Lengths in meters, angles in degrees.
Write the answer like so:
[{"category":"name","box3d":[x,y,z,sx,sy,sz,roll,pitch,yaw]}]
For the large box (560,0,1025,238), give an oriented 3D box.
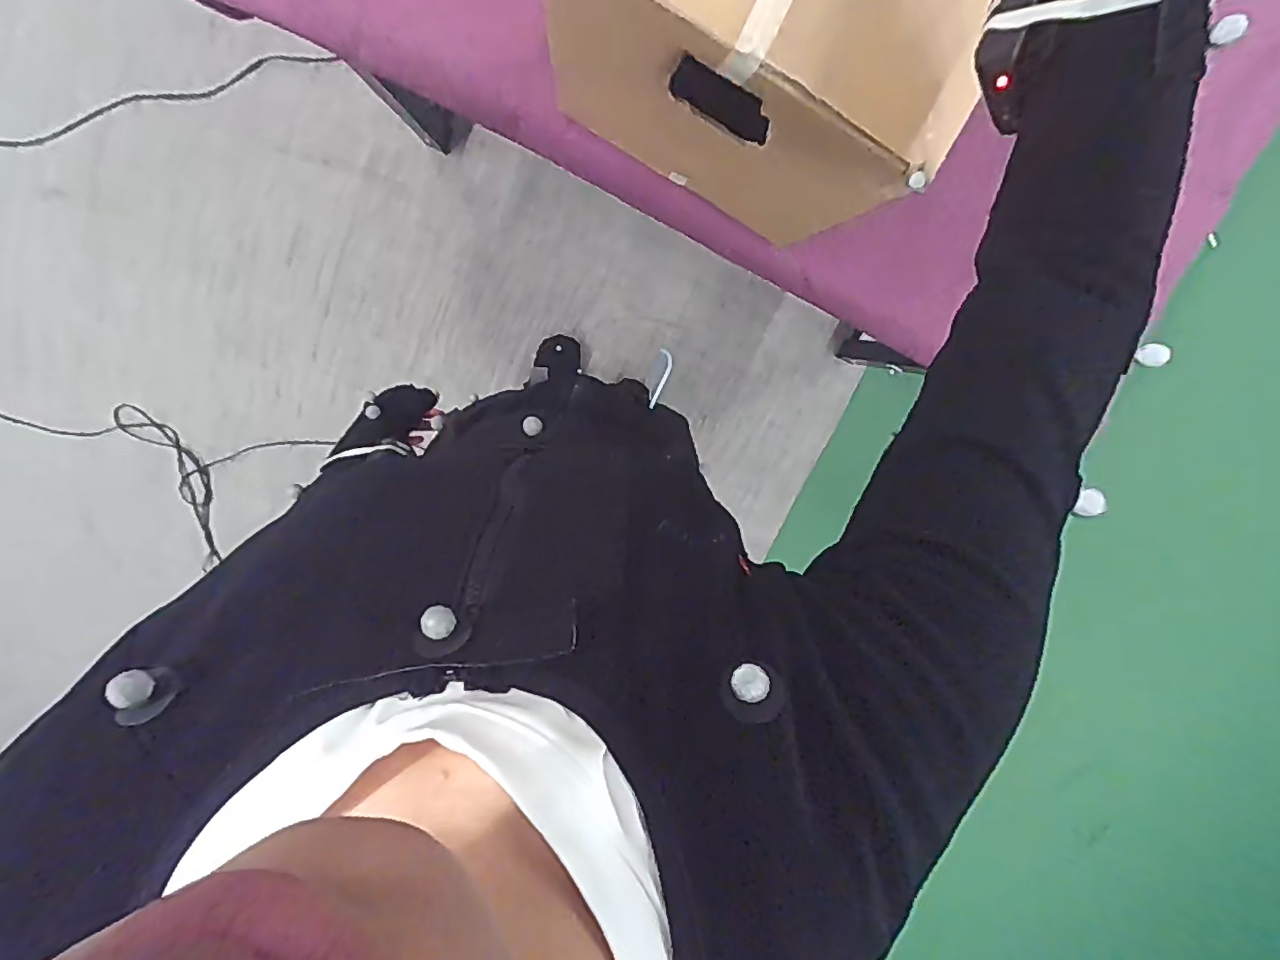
[{"category":"large box","box3d":[0.151,-0.498,0.478,0.320,0.320,0.408,26,103,-11]}]
